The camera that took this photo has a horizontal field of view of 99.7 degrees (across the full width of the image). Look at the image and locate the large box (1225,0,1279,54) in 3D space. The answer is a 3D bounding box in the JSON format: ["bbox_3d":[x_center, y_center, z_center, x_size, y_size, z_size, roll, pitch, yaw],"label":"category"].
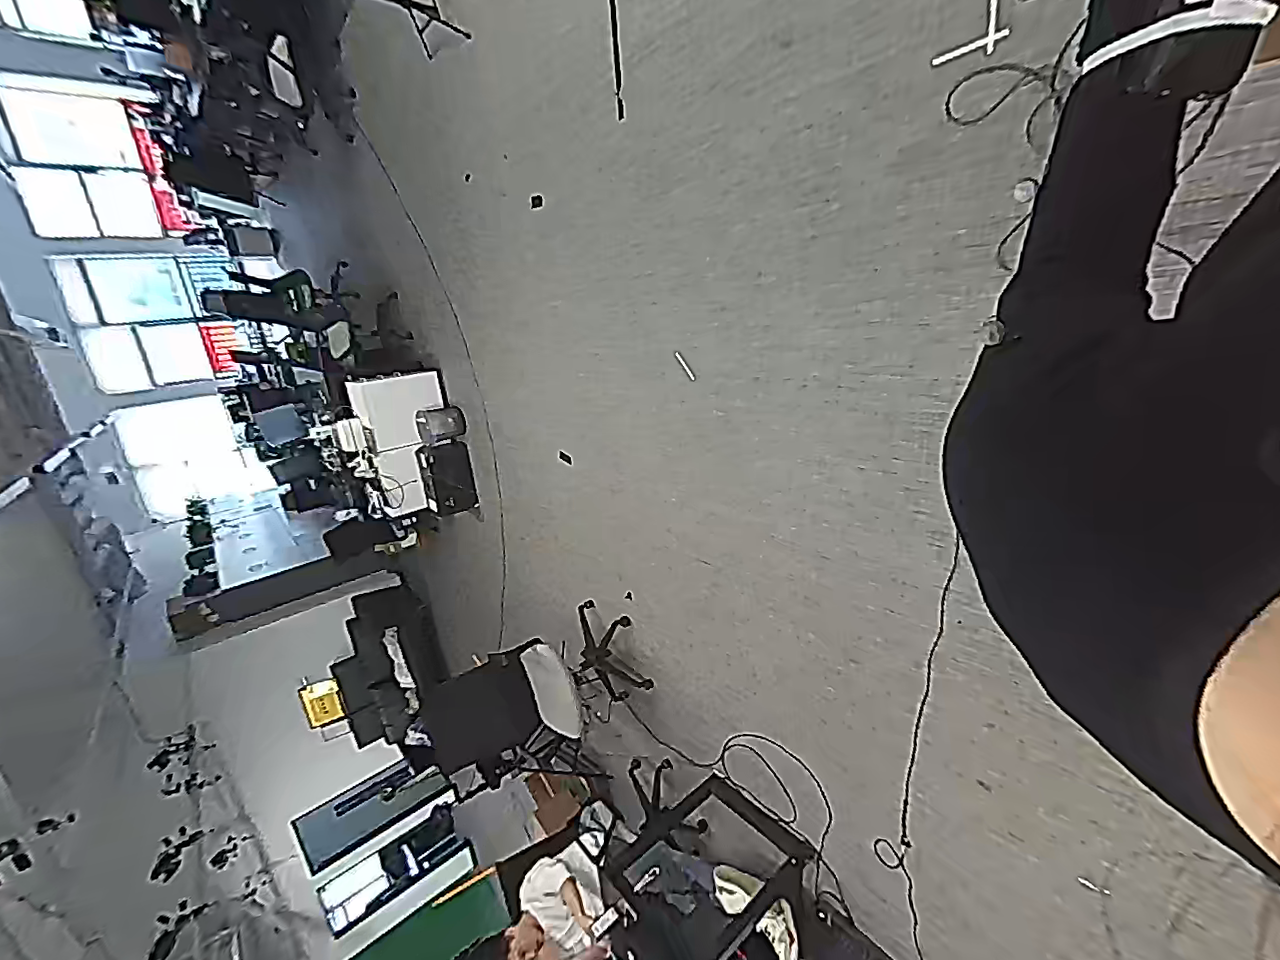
[{"bbox_3d":[0.589,-0.462,0.238,0.408,0.320,0.320,17,123,46],"label":"large box"}]
